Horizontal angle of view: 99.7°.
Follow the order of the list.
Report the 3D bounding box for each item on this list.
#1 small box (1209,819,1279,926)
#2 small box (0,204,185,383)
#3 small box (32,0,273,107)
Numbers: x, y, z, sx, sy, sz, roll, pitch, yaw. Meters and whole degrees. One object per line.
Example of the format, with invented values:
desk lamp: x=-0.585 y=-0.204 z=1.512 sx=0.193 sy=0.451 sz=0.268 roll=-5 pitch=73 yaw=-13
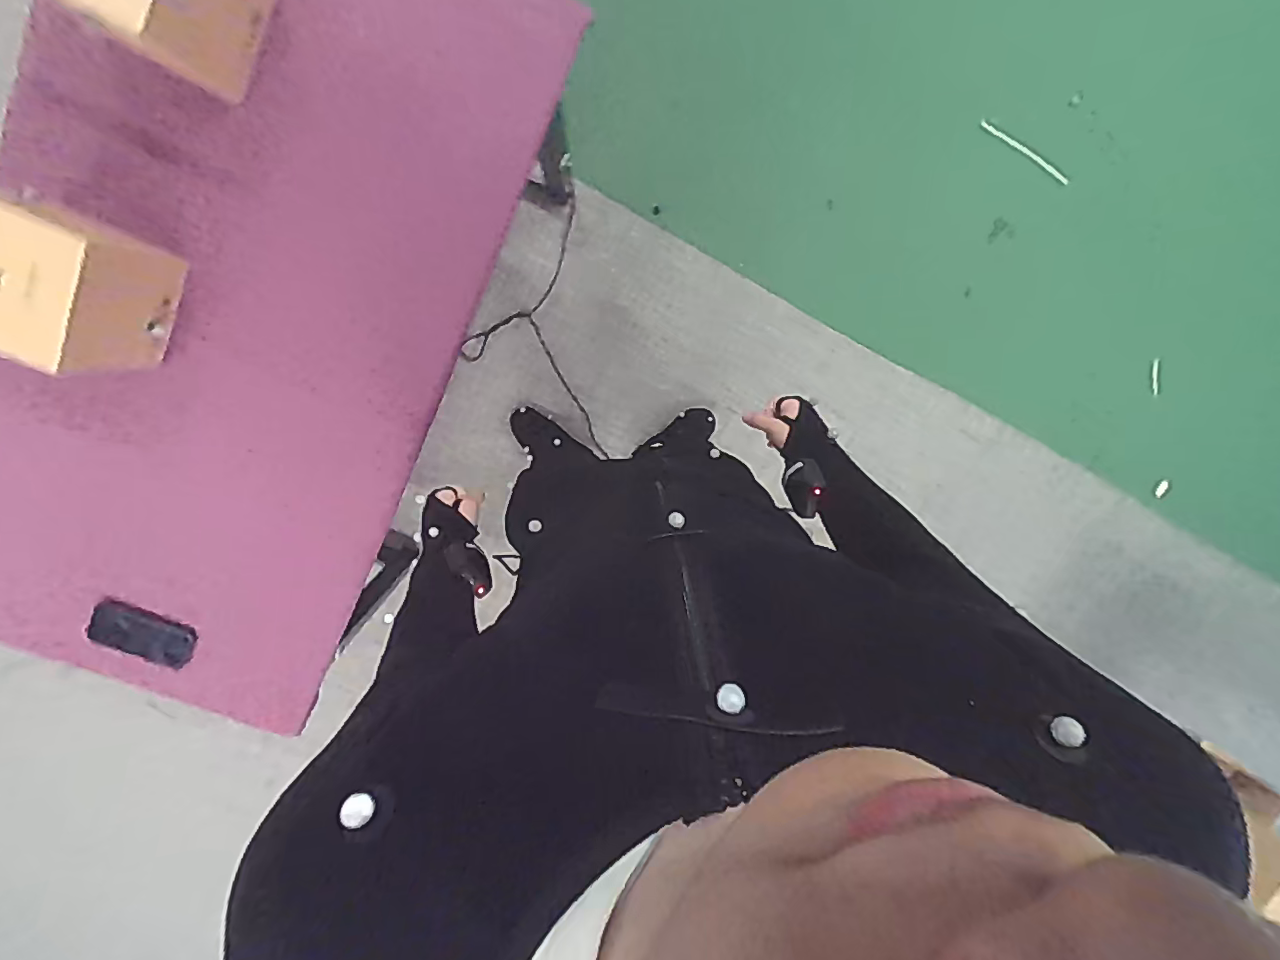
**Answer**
small box: x=1.499 y=0.927 z=1.241 sx=0.179 sy=0.176 sz=0.168 roll=30 pitch=98 yaw=-9
small box: x=-0.746 y=-0.234 z=0.686 sx=0.179 sy=0.176 sz=0.168 roll=23 pitch=100 yaw=-9
small box: x=-0.579 y=-0.579 z=0.622 sx=0.179 sy=0.176 sz=0.168 roll=25 pitch=100 yaw=-9
